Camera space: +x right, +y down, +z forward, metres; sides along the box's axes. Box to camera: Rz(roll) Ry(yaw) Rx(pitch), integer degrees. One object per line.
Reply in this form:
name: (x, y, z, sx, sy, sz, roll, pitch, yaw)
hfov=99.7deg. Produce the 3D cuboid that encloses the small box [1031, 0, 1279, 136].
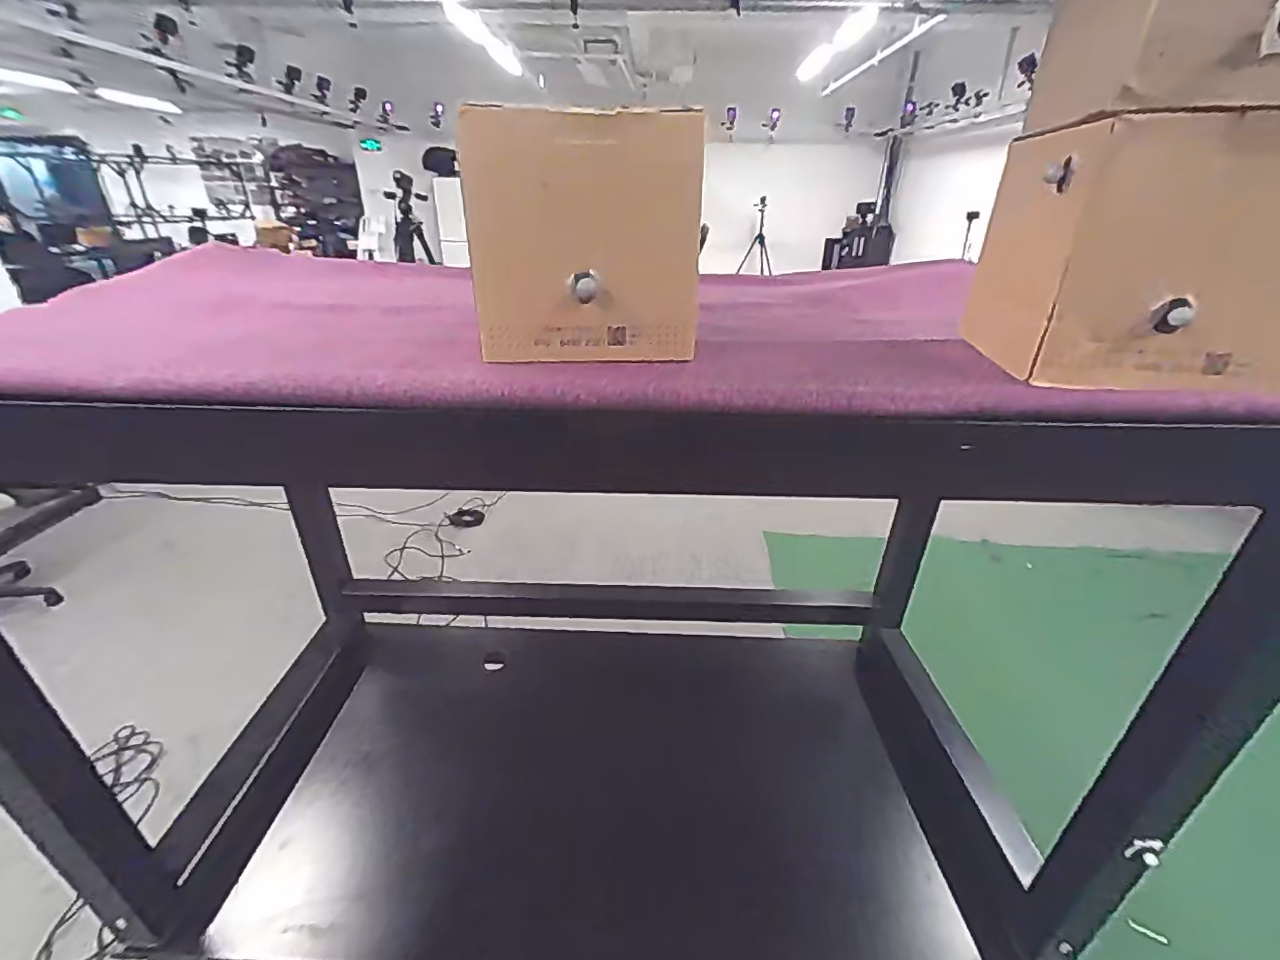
small box: (0.374, -0.303, 0.324, 0.168, 0.176, 0.179, 7, 30, 14)

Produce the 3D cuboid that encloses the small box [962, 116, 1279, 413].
small box: (0.372, -0.163, 0.407, 0.168, 0.176, 0.179, 6, 29, 10)
